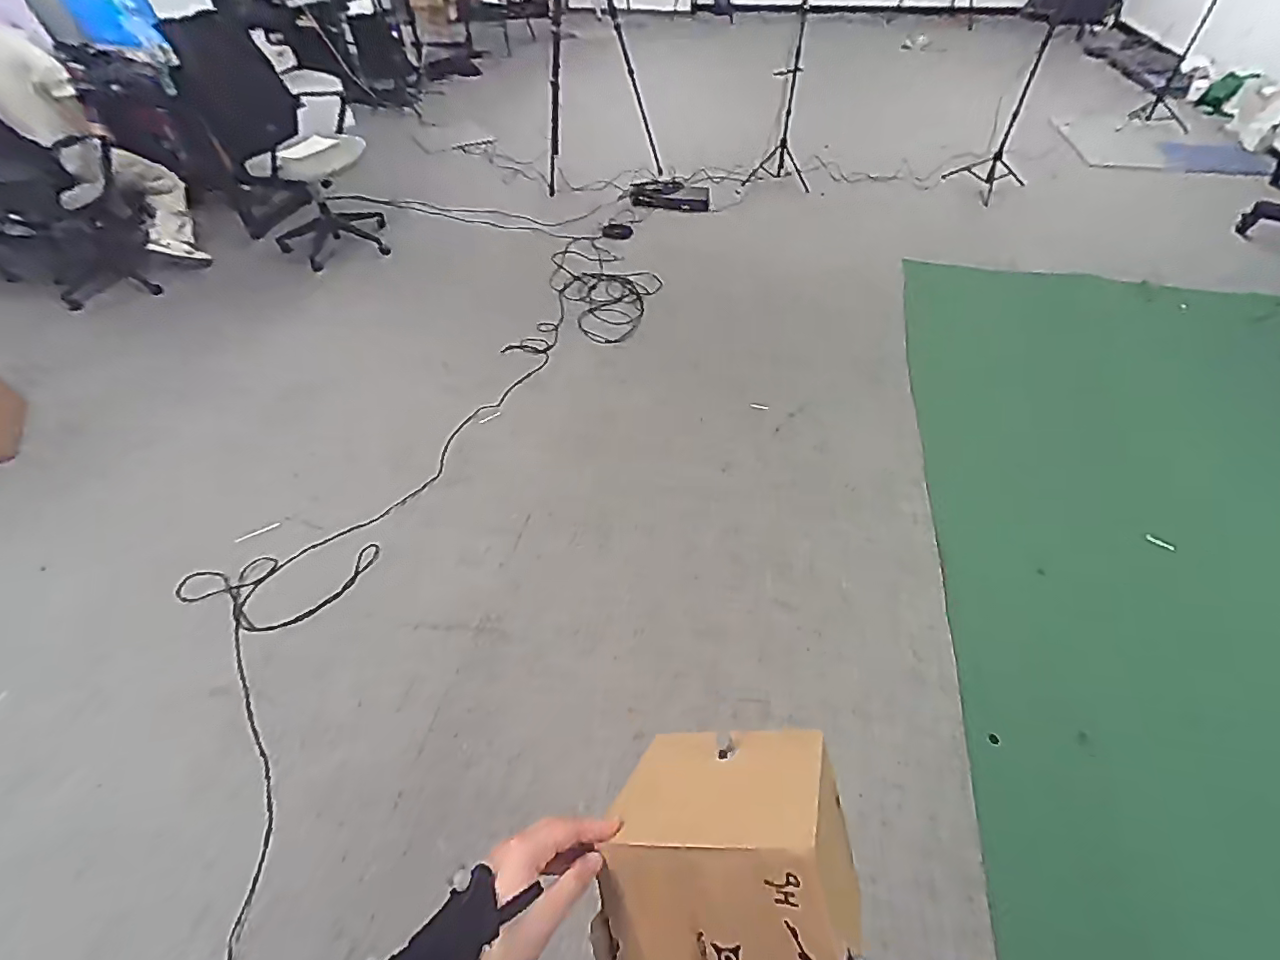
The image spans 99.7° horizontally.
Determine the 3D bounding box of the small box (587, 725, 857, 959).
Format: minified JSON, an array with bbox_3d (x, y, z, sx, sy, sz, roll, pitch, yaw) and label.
[{"bbox_3d":[0.081,0.332,0.467,0.179,0.176,0.168,-13,90,22],"label":"small box"}]
